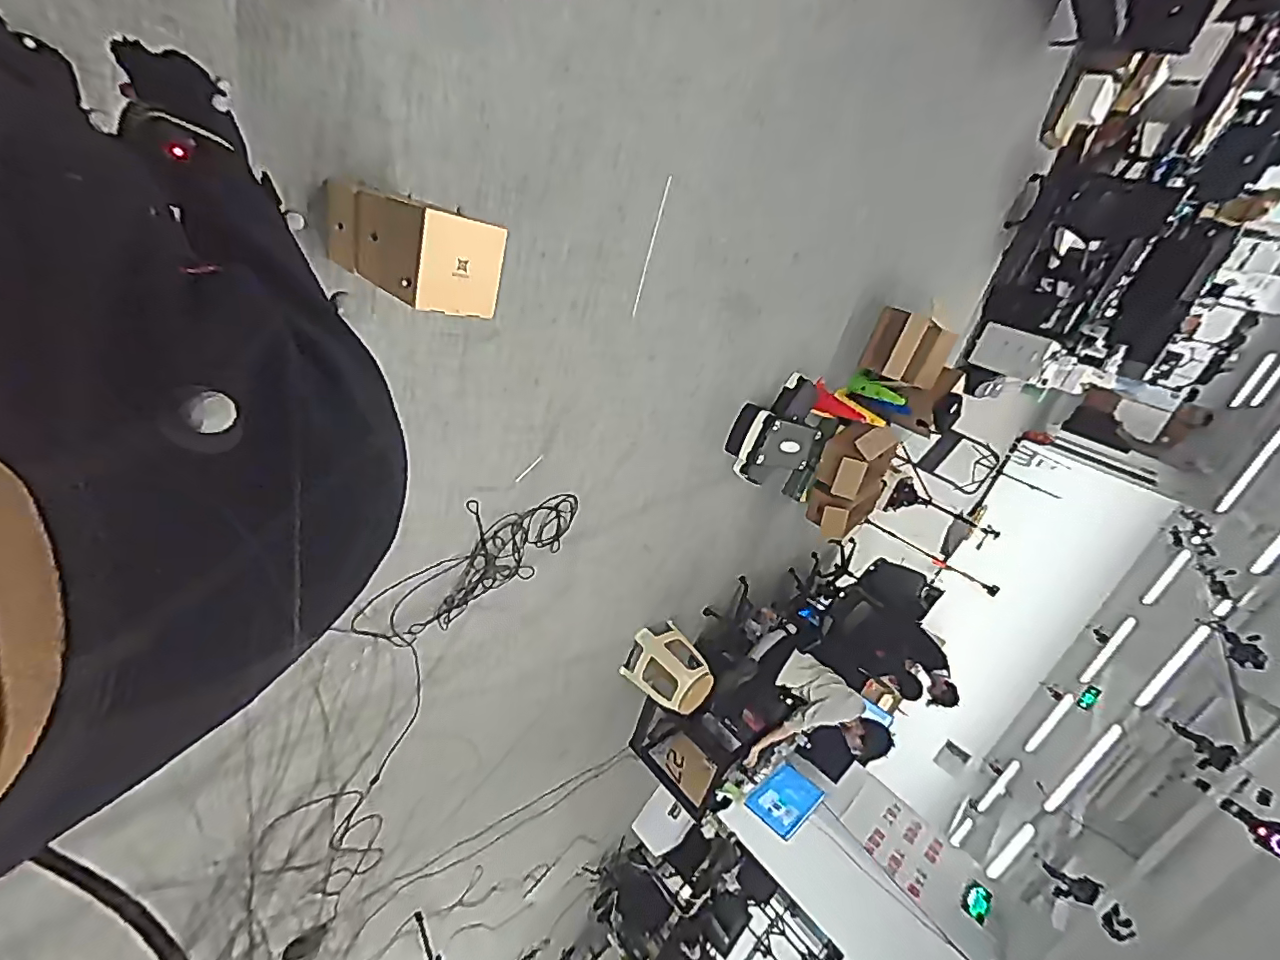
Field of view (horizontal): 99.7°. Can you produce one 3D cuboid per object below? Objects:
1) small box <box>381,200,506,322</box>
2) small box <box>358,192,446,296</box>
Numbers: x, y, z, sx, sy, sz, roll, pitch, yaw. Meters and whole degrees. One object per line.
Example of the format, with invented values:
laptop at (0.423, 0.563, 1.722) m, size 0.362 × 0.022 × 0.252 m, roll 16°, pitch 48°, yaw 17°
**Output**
small box at (-0.387, -0.426, 1.054) m, size 0.168 × 0.176 × 0.179 m, roll -8°, pitch 123°, yaw -45°
small box at (-0.489, -0.497, 1.160) m, size 0.168 × 0.176 × 0.179 m, roll -12°, pitch 125°, yaw -44°
